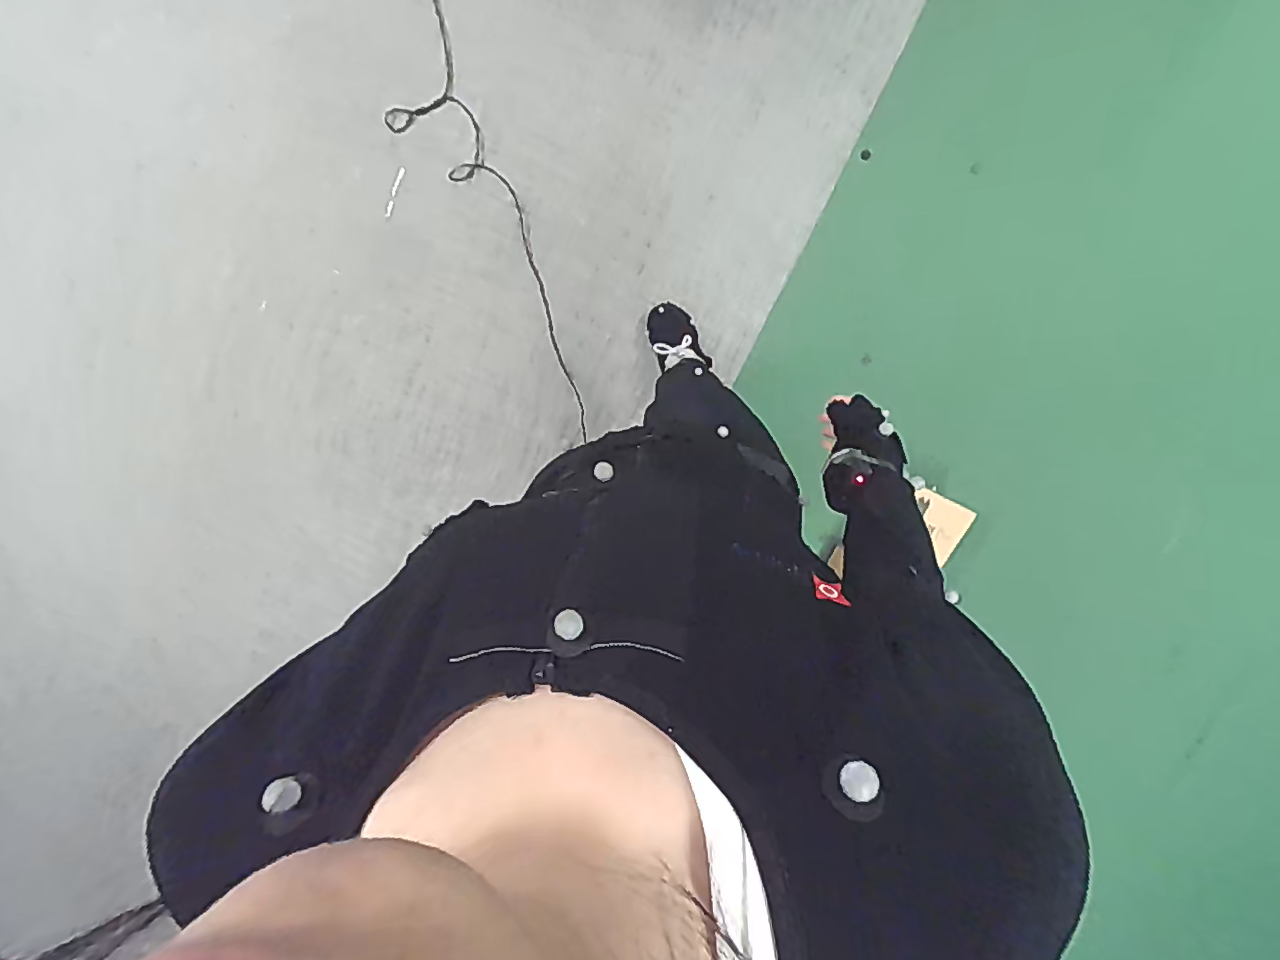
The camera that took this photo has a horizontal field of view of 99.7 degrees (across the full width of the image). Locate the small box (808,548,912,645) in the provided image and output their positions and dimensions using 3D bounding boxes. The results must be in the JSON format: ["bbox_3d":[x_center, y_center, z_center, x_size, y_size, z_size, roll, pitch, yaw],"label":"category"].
[{"bbox_3d":[0.586,0.307,1.463,0.179,0.176,0.168,24,104,-2],"label":"small box"}]
